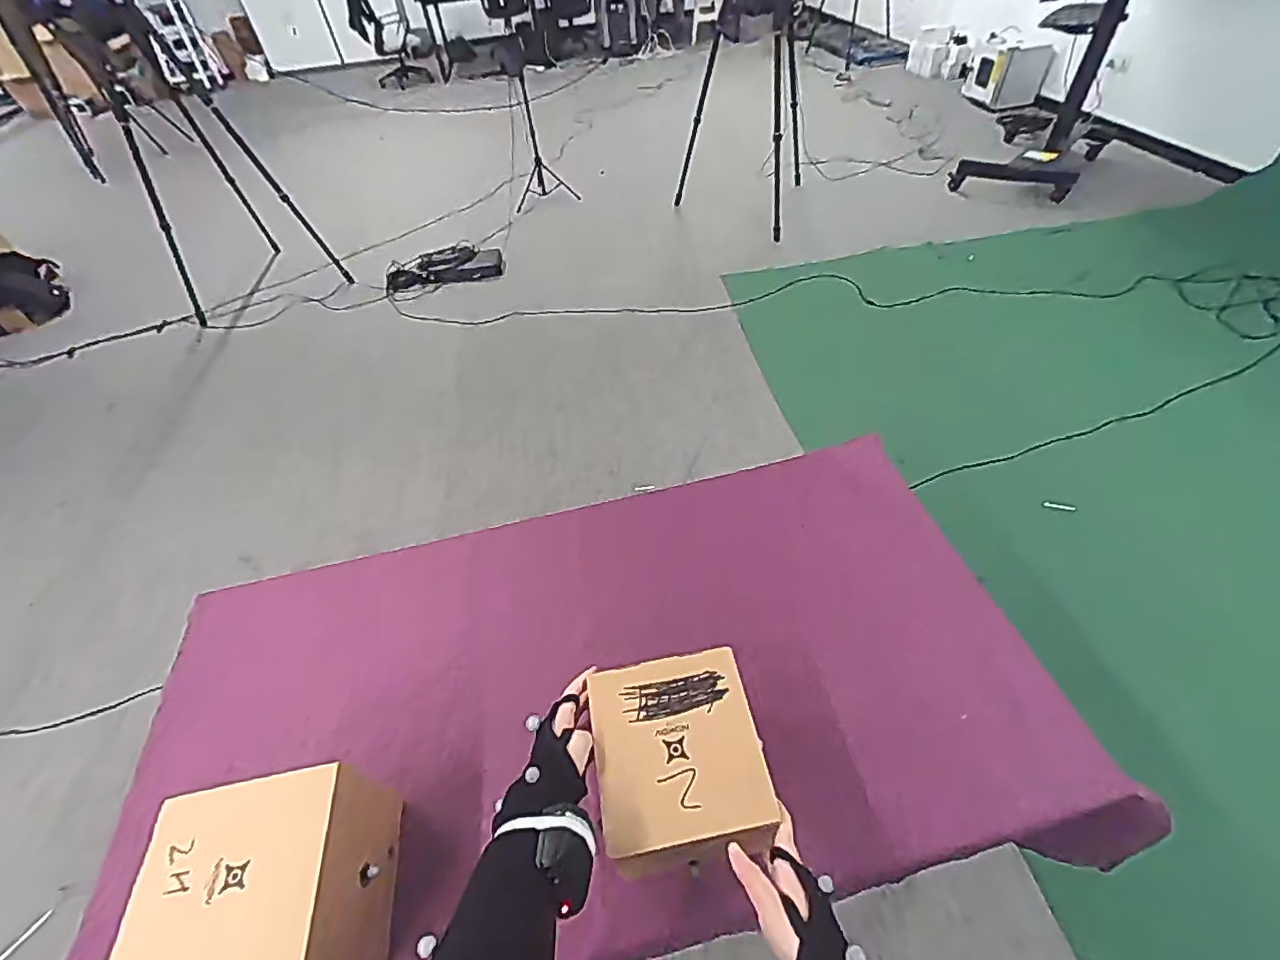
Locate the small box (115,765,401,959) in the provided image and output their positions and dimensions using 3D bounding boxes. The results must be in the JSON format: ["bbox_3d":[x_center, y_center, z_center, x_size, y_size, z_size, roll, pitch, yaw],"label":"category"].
[{"bbox_3d":[-0.372,0.421,0.563,0.179,0.176,0.168,-11,47,-3],"label":"small box"}]
